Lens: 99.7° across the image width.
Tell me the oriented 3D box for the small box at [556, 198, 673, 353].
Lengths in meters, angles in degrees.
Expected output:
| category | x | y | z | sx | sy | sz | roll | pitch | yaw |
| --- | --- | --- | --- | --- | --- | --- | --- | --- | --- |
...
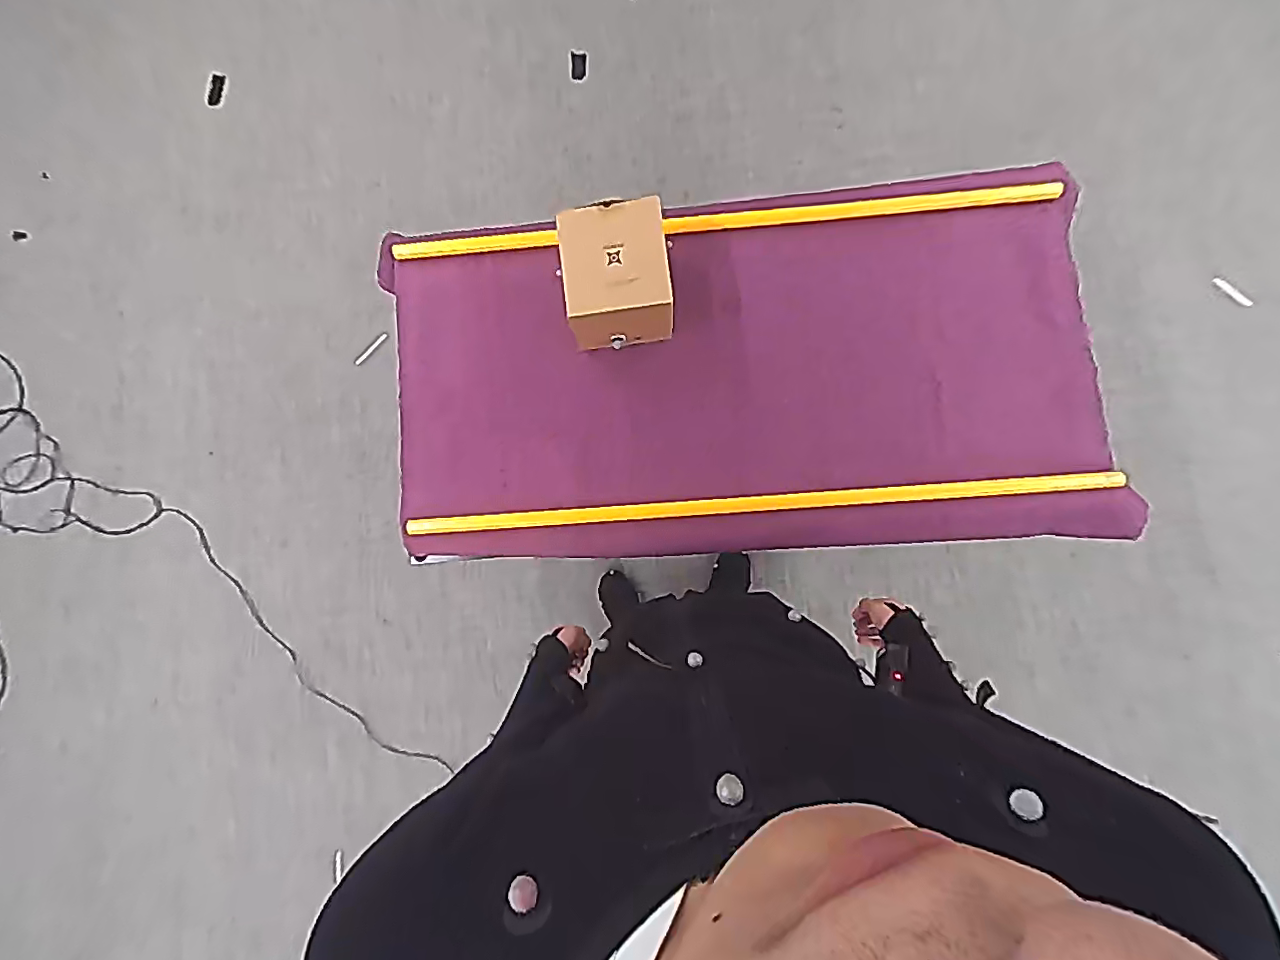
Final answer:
| category | x | y | z | sx | sy | sz | roll | pitch | yaw |
| --- | --- | --- | --- | --- | --- | --- | --- | --- | --- |
| small box | -0.038 | -0.332 | 0.905 | 0.168 | 0.176 | 0.179 | -8 | 84 | 2 |
